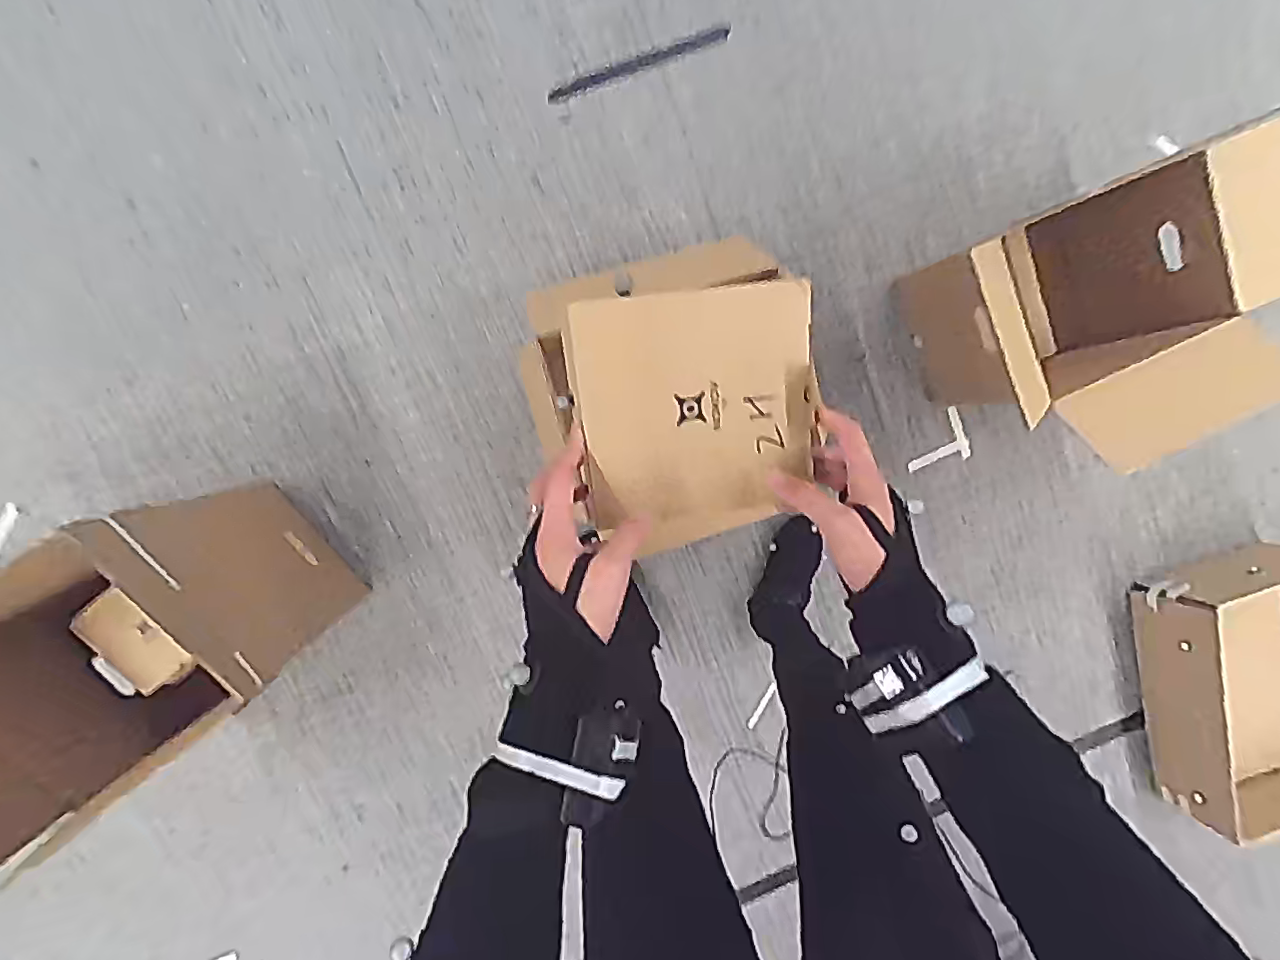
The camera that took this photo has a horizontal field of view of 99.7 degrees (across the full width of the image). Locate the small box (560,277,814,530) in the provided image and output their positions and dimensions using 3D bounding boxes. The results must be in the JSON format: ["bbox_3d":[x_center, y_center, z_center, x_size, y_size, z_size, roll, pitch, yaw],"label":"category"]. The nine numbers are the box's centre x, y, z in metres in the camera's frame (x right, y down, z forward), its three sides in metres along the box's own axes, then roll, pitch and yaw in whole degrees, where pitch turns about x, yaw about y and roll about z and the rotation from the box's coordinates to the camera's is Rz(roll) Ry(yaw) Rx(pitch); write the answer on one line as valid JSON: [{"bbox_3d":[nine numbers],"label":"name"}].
[{"bbox_3d":[0.027,-0.072,0.457,0.179,0.176,0.168,-8,107,-9],"label":"small box"}]
